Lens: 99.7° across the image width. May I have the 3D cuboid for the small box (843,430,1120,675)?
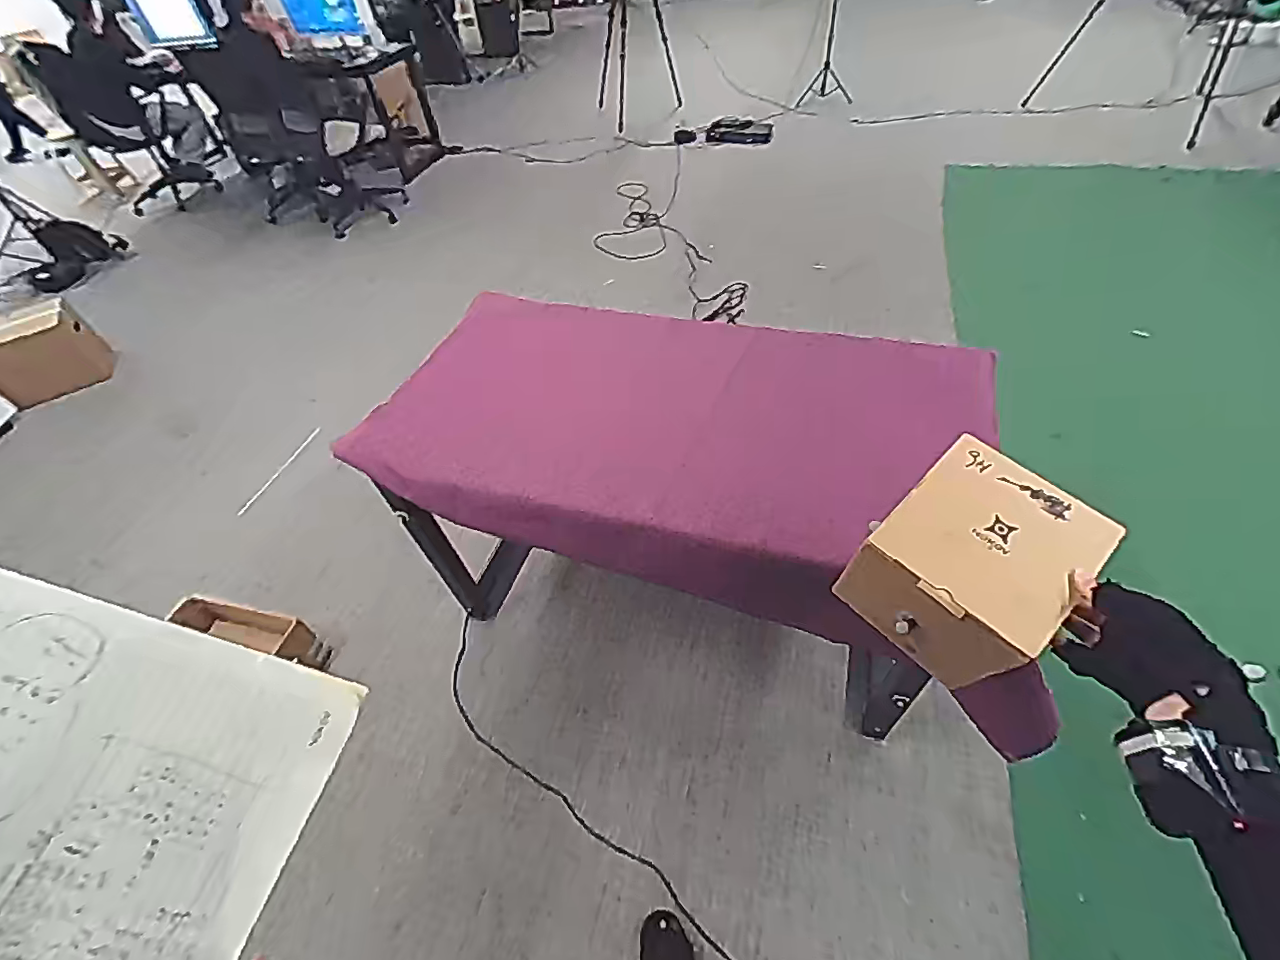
[{"bbox_3d":[0.345,0.087,0.589,0.179,0.176,0.168,-43,66,-14],"label":"small box"}]
